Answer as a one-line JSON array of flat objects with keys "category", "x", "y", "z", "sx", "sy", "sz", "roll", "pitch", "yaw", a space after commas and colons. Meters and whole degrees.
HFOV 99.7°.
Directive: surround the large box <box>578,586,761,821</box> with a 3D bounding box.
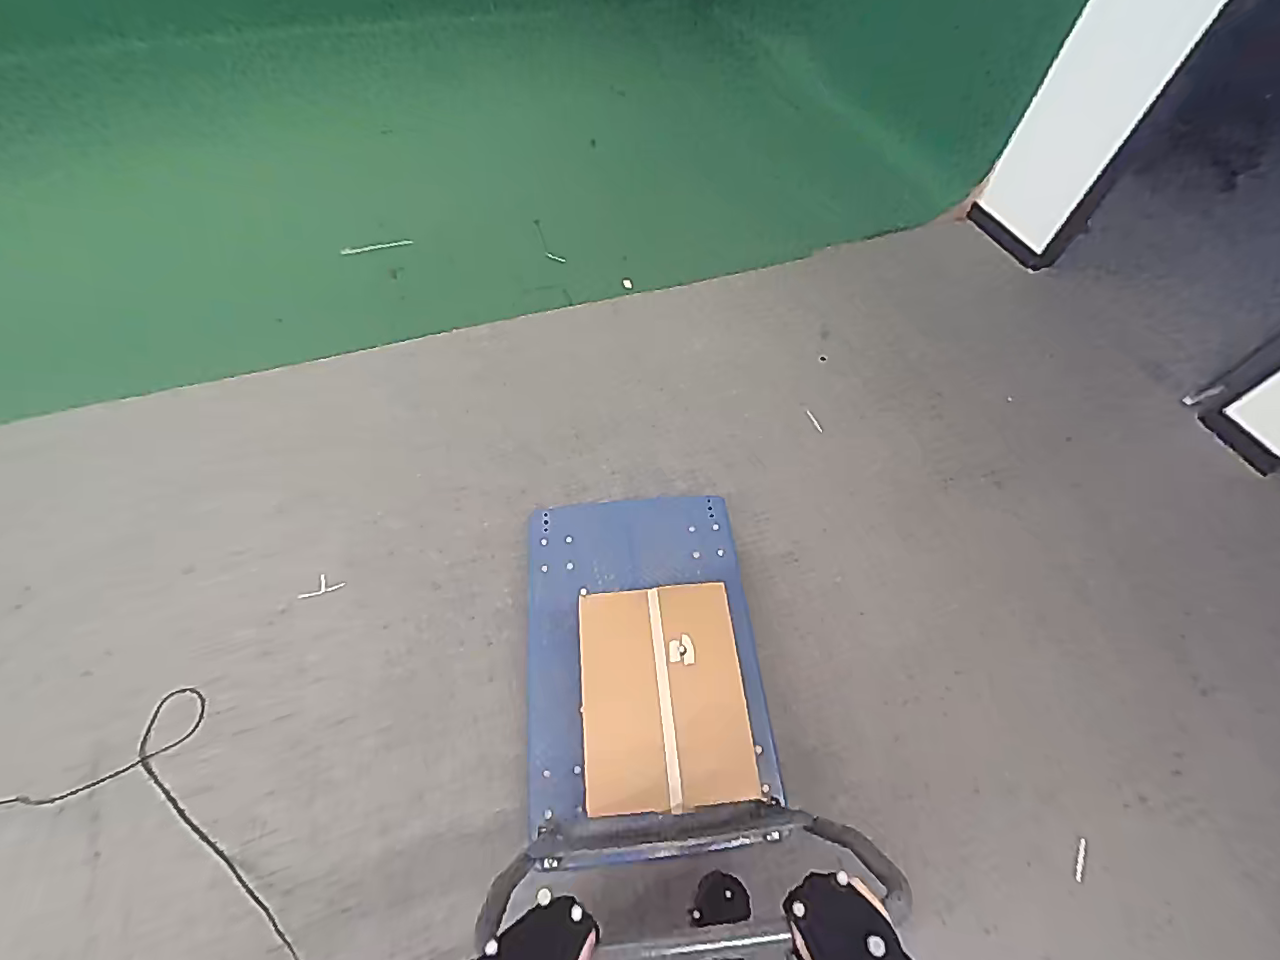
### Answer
[{"category": "large box", "x": 0.042, "y": 0.487, "z": 1.175, "sx": 0.320, "sy": 0.320, "sz": 0.408, "roll": -4, "pitch": 58, "yaw": -4}]
